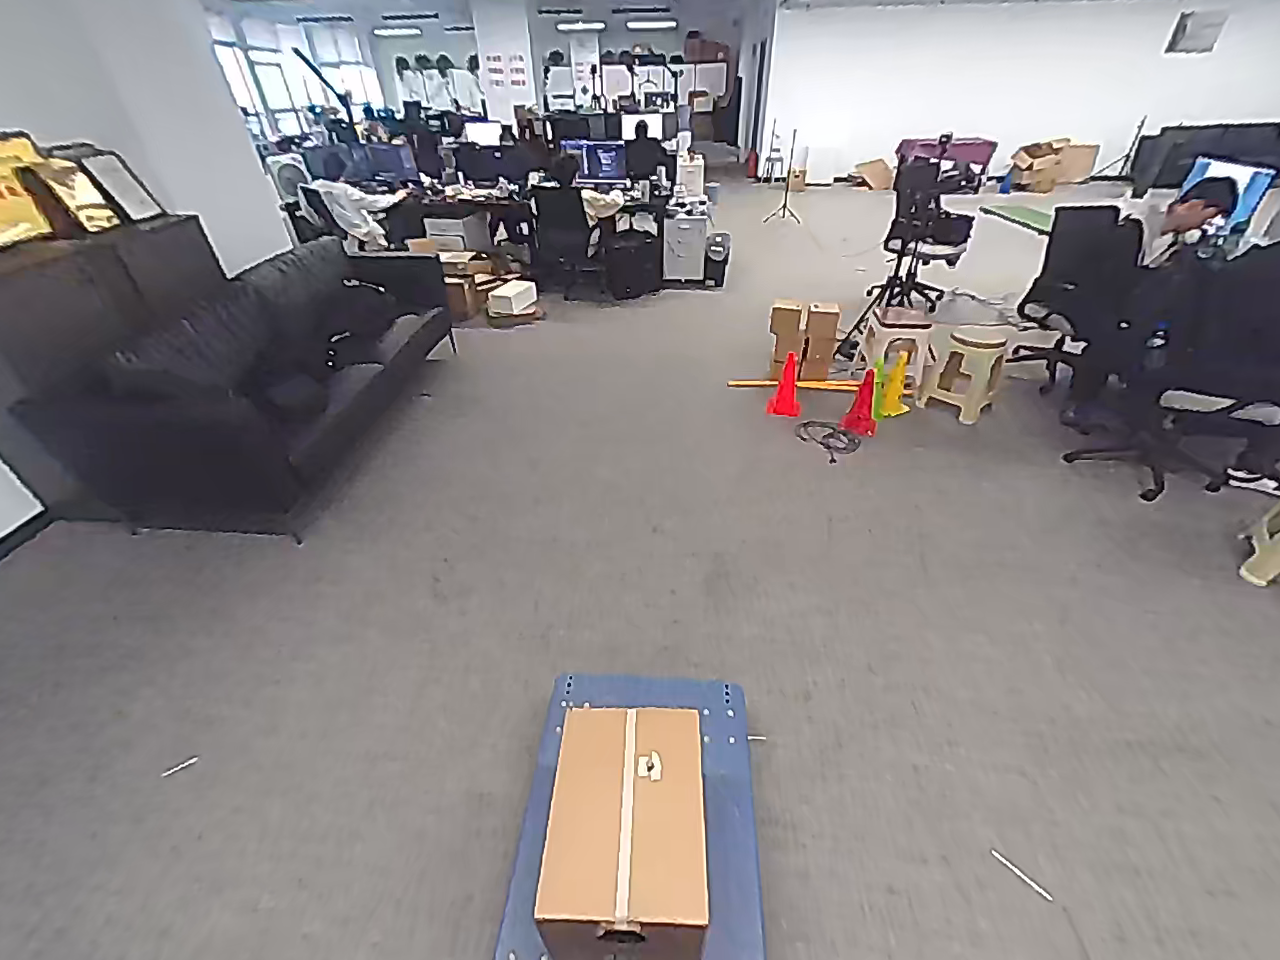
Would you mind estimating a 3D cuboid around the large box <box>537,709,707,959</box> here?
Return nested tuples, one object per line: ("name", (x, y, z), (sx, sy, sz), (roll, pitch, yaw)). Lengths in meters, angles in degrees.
("large box", (-0.024, 0.783, 1.207), (0.320, 0.320, 0.408), (0, 37, 2))
